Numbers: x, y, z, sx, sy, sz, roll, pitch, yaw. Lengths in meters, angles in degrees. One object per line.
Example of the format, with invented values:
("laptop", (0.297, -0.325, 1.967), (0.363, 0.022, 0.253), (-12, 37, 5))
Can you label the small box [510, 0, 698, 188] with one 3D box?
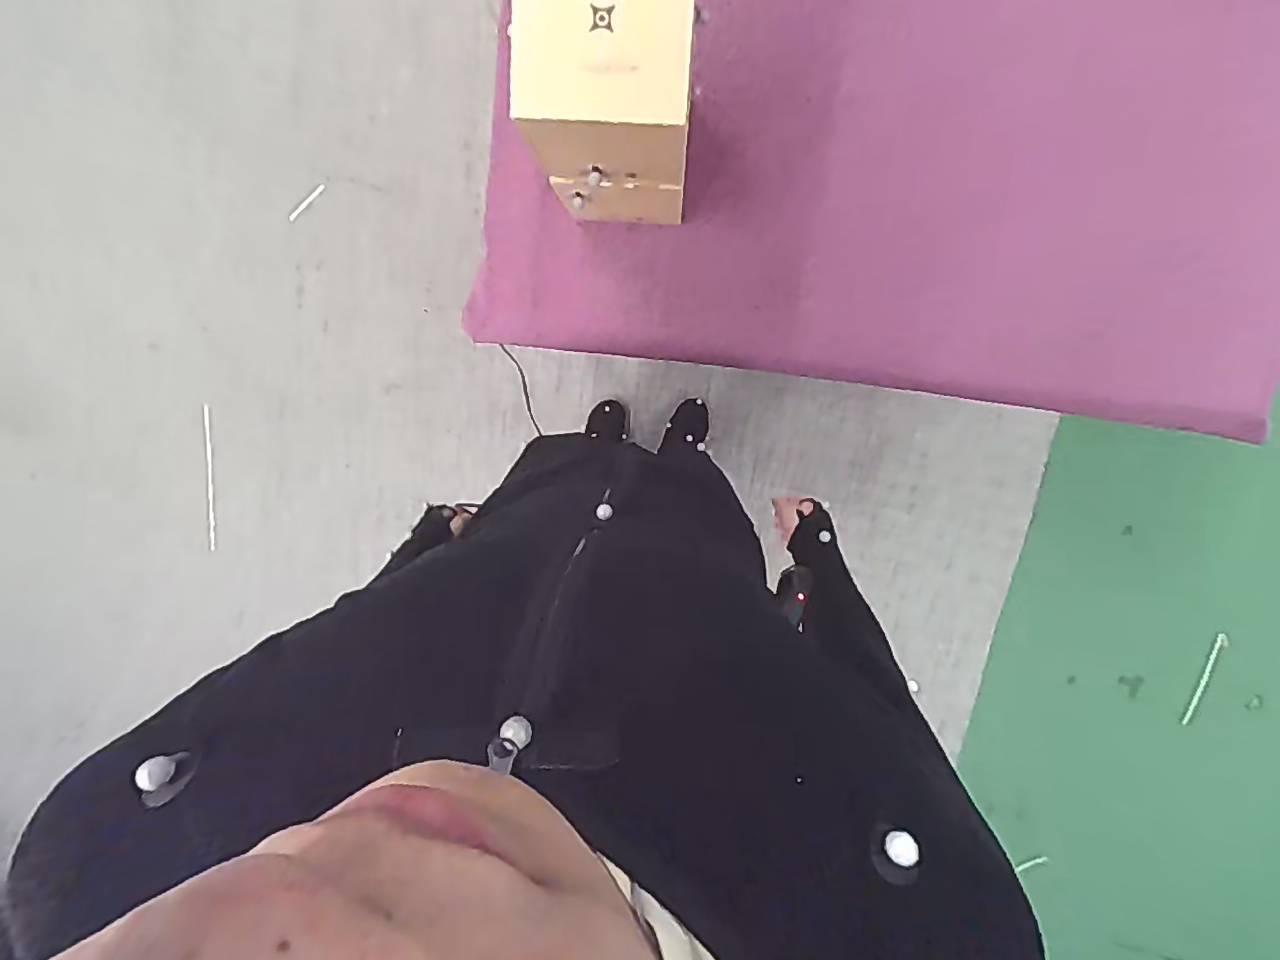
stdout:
("small box", (-0.029, -0.431, 0.560), (0.168, 0.176, 0.179), (5, 102, 2))
